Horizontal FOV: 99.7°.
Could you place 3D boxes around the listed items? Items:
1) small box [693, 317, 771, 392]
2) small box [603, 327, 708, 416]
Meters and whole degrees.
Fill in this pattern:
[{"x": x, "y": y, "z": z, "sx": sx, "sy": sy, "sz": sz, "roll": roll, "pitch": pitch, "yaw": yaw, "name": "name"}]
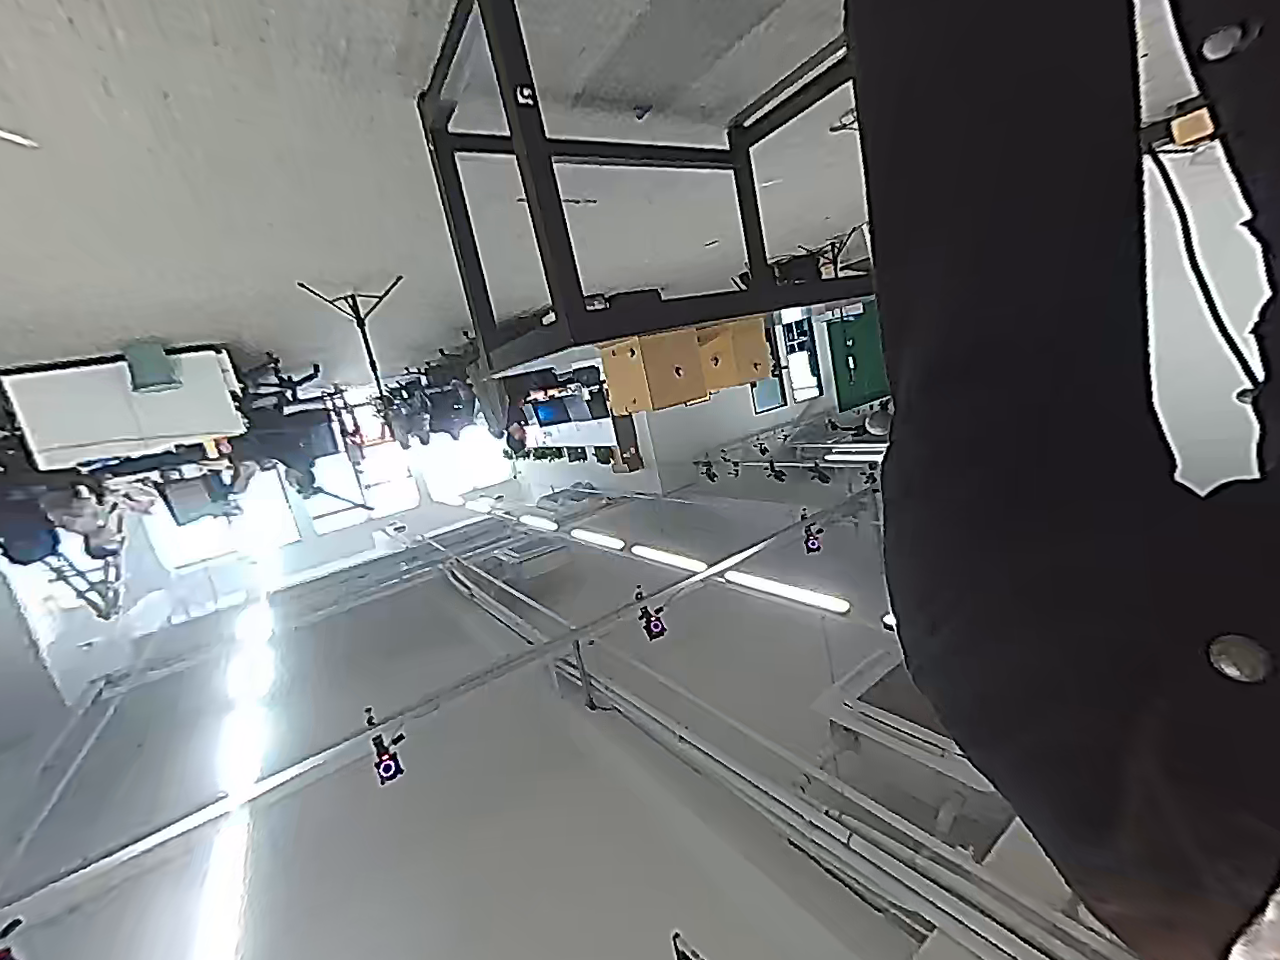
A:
[{"x": 0.234, "y": -0.341, "z": 1.477, "sx": 0.168, "sy": 0.176, "sz": 0.179, "roll": -1, "pitch": -164, "yaw": 43, "name": "small box"}, {"x": 0.032, "y": -0.260, "z": 1.300, "sx": 0.179, "sy": 0.176, "sz": 0.168, "roll": -21, "pitch": -166, "yaw": -33, "name": "small box"}]
